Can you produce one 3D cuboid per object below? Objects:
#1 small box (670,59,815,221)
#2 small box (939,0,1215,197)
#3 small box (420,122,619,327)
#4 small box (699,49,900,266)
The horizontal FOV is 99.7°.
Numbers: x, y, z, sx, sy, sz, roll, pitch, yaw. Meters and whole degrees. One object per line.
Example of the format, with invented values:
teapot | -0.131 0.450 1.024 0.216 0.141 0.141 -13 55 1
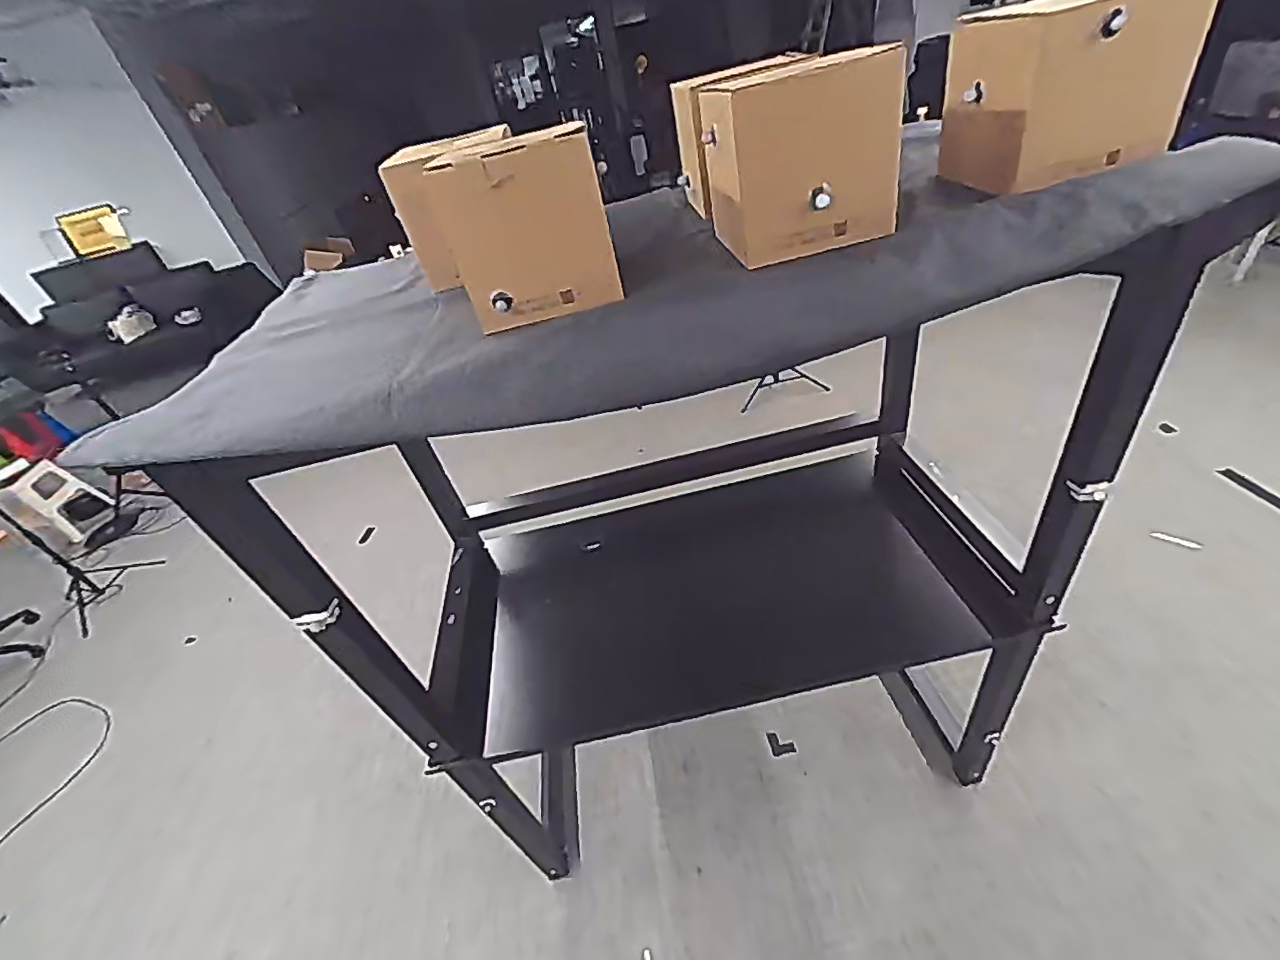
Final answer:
small box | 0.152 -0.511 0.814 0.179 0.176 0.168 -12 37 3
small box | 0.468 -0.439 0.616 0.168 0.176 0.179 -12 37 5
small box | -0.125 -0.292 0.627 0.168 0.176 0.179 -13 36 2
small box | 0.170 -0.360 0.614 0.168 0.176 0.179 -13 36 3
